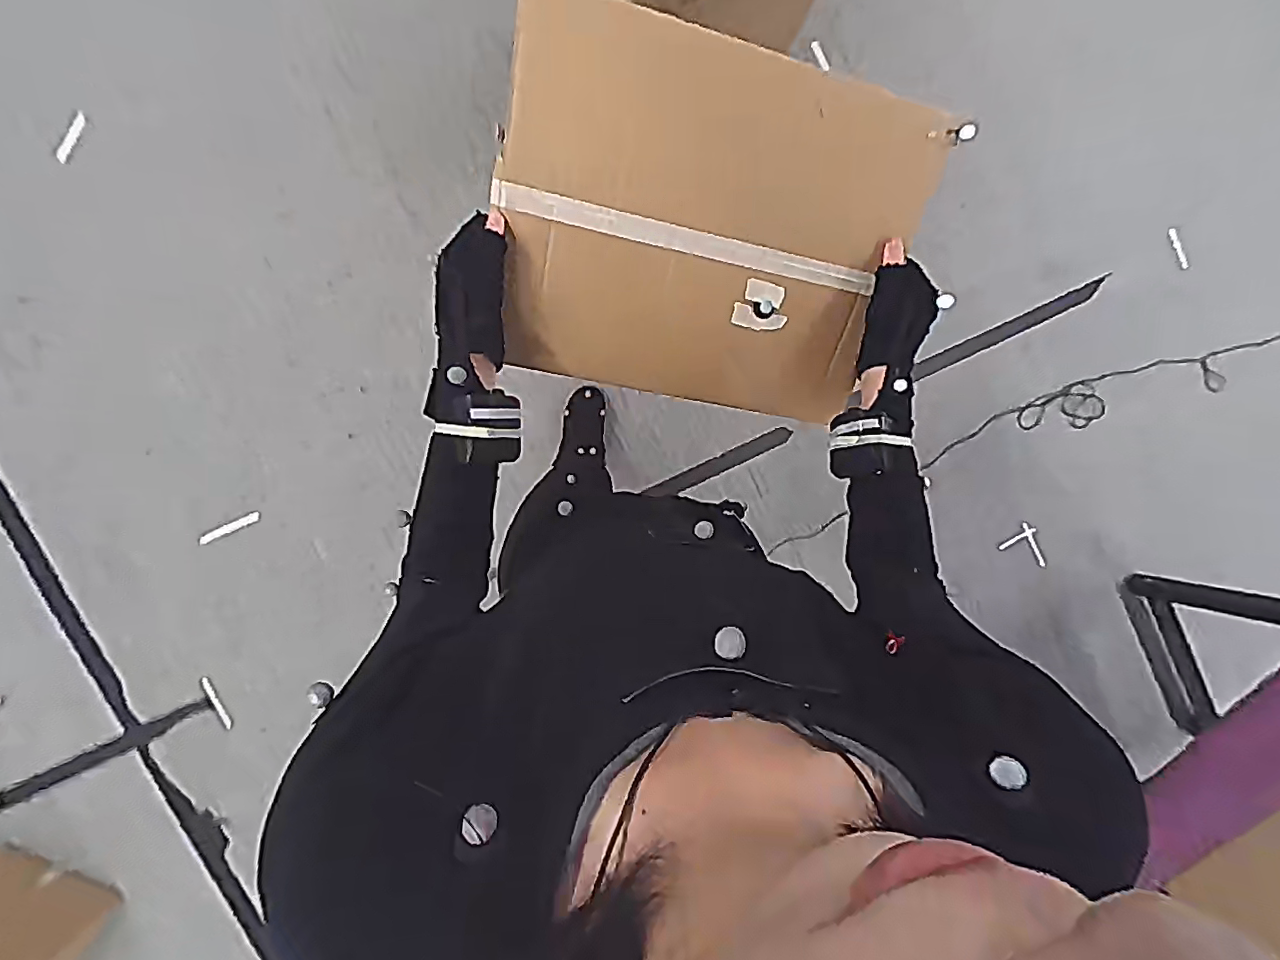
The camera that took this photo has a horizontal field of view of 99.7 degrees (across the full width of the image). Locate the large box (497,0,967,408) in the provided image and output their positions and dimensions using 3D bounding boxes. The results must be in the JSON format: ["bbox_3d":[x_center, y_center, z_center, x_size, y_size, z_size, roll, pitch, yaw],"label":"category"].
[{"bbox_3d":[0.057,-0.308,0.647,0.408,0.320,0.320,8,117,-12],"label":"large box"}]
